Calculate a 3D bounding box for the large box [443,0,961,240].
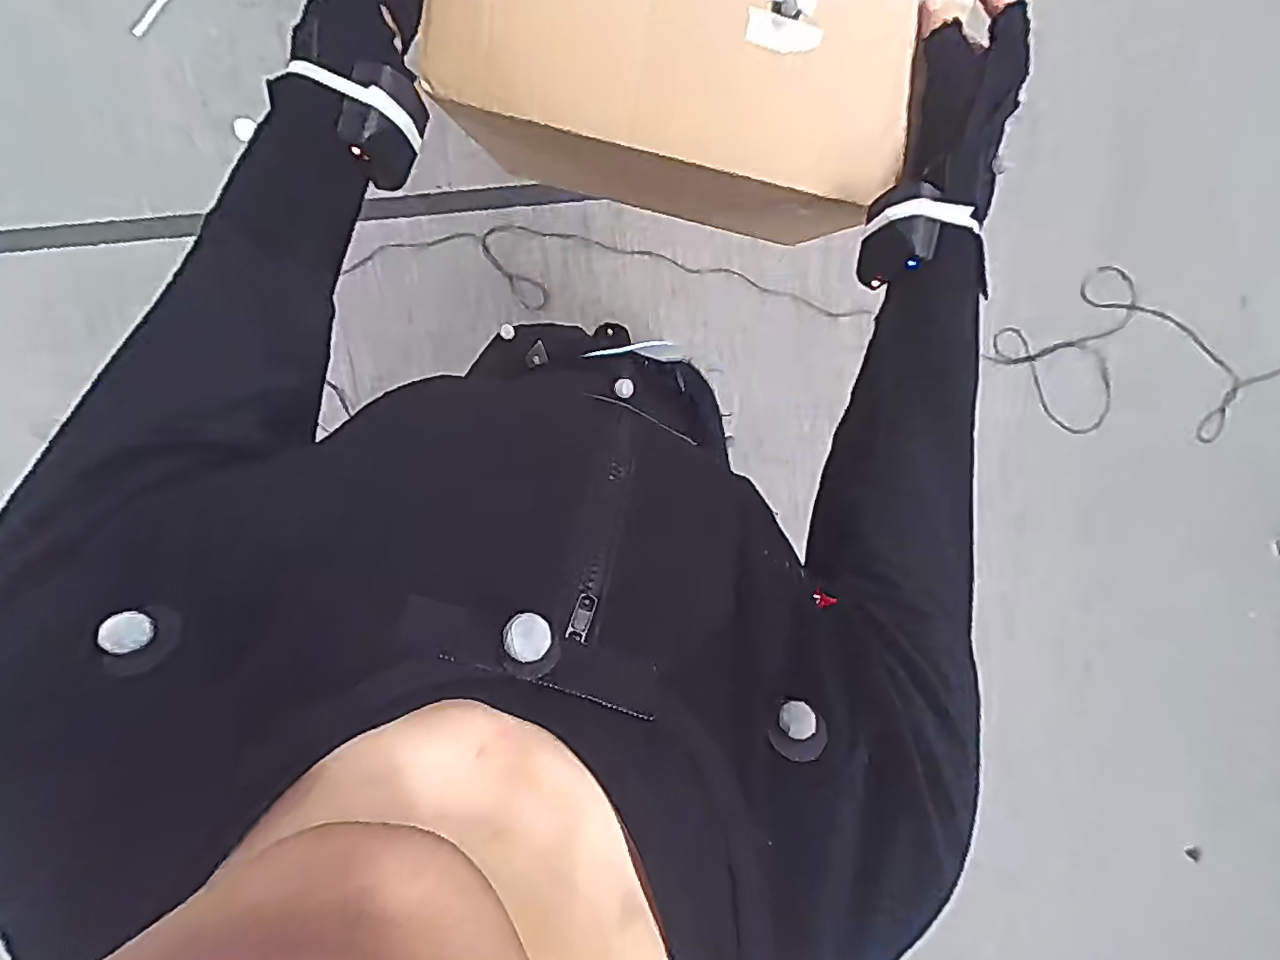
[{"bbox_3d":[0.056,-0.464,0.553,0.408,0.320,0.320,12,109,-6],"label":"large box"}]
